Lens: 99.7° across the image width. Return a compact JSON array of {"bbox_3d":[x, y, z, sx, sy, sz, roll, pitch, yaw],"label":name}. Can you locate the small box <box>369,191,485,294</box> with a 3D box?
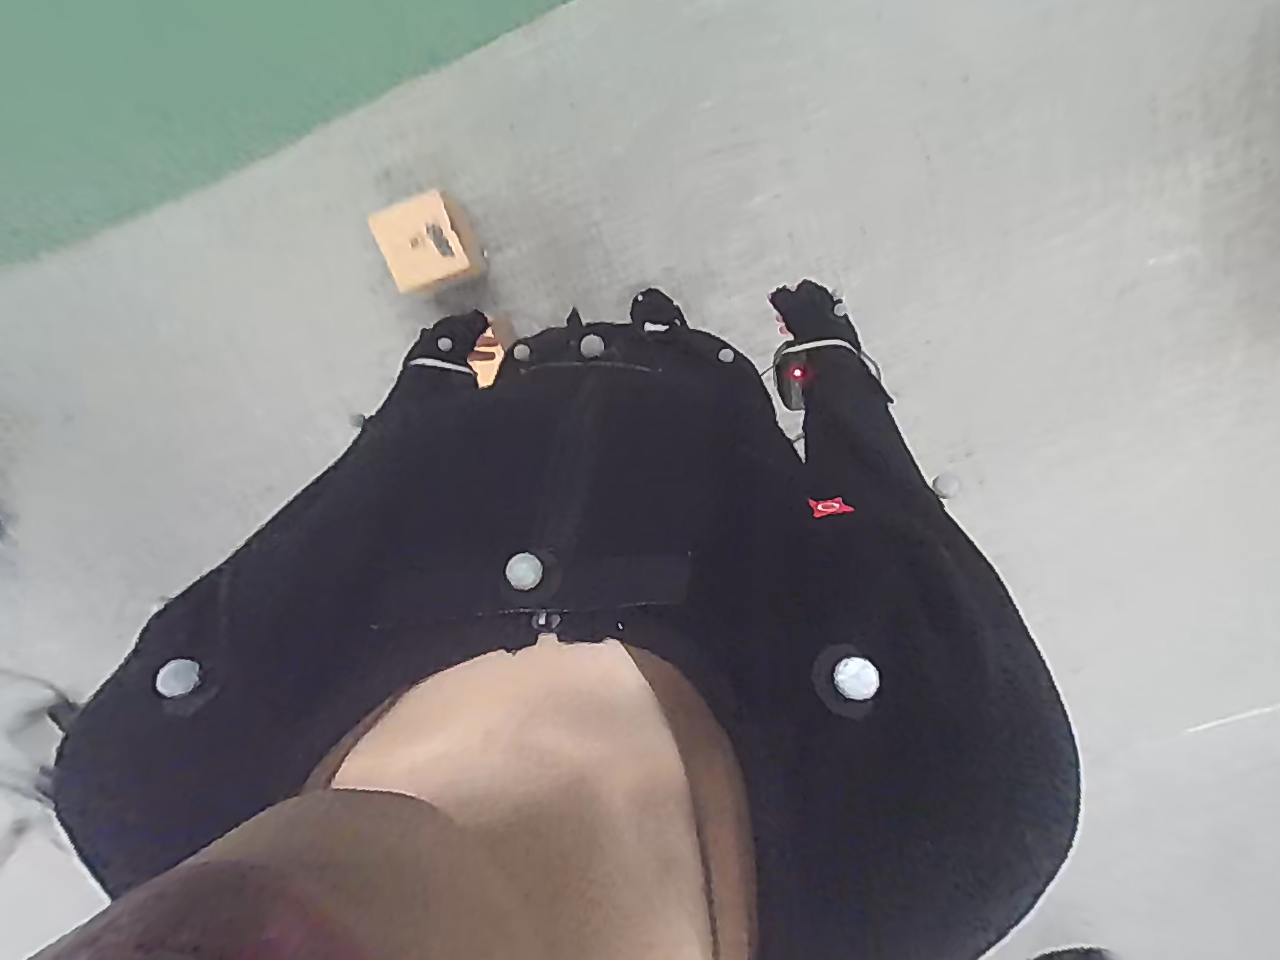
[{"bbox_3d":[-0.478,-0.541,1.251,0.179,0.176,0.168,-18,107,7],"label":"small box"}]

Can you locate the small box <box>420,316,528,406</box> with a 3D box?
[{"bbox_3d":[-0.399,-0.296,1.333,0.179,0.176,0.168,-18,107,6],"label":"small box"}]
